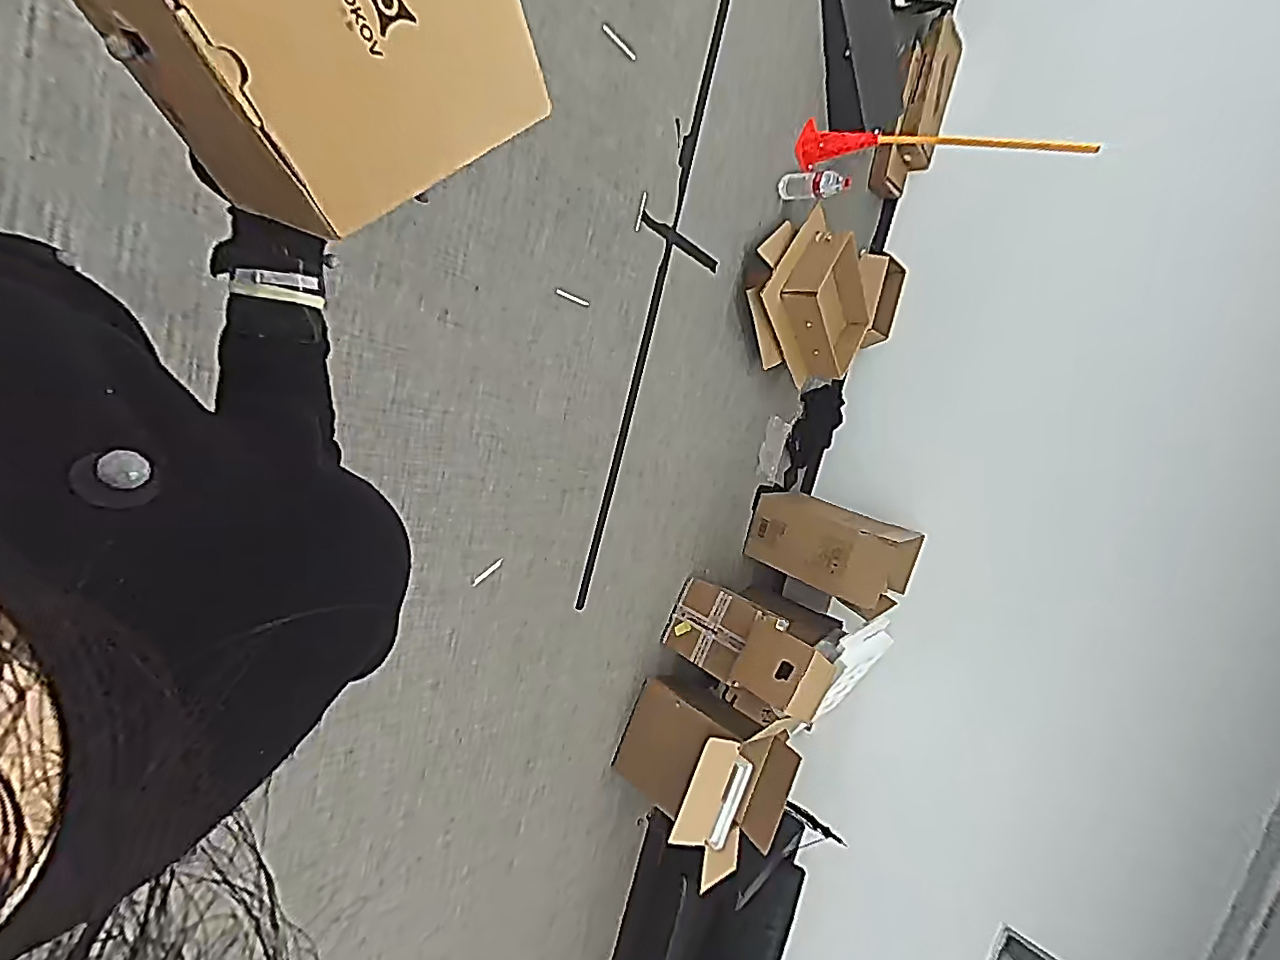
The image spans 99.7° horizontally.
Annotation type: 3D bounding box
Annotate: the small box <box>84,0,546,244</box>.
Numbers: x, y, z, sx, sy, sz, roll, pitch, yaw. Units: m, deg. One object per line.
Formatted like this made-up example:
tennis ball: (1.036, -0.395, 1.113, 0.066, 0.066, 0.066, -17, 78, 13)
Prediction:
small box: (-0.194, -0.276, 0.326, 0.179, 0.176, 0.168, -47, 145, -22)
